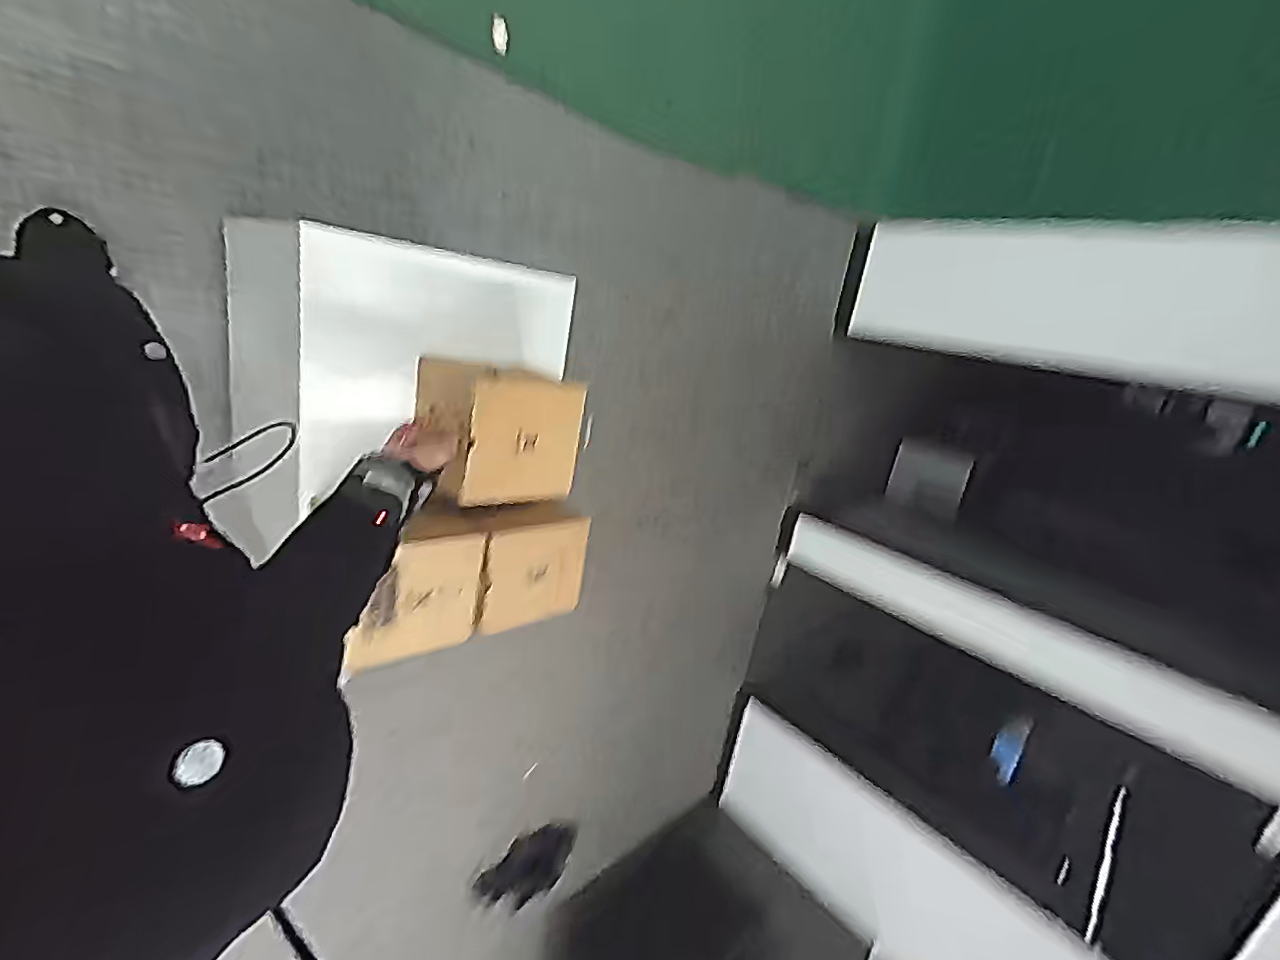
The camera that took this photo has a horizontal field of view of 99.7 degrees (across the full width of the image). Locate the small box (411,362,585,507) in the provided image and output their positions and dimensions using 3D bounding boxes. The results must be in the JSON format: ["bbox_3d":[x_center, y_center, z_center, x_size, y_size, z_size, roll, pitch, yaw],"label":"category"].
[{"bbox_3d":[-0.209,-0.072,0.788,0.179,0.176,0.168,-4,112,-44],"label":"small box"}]
